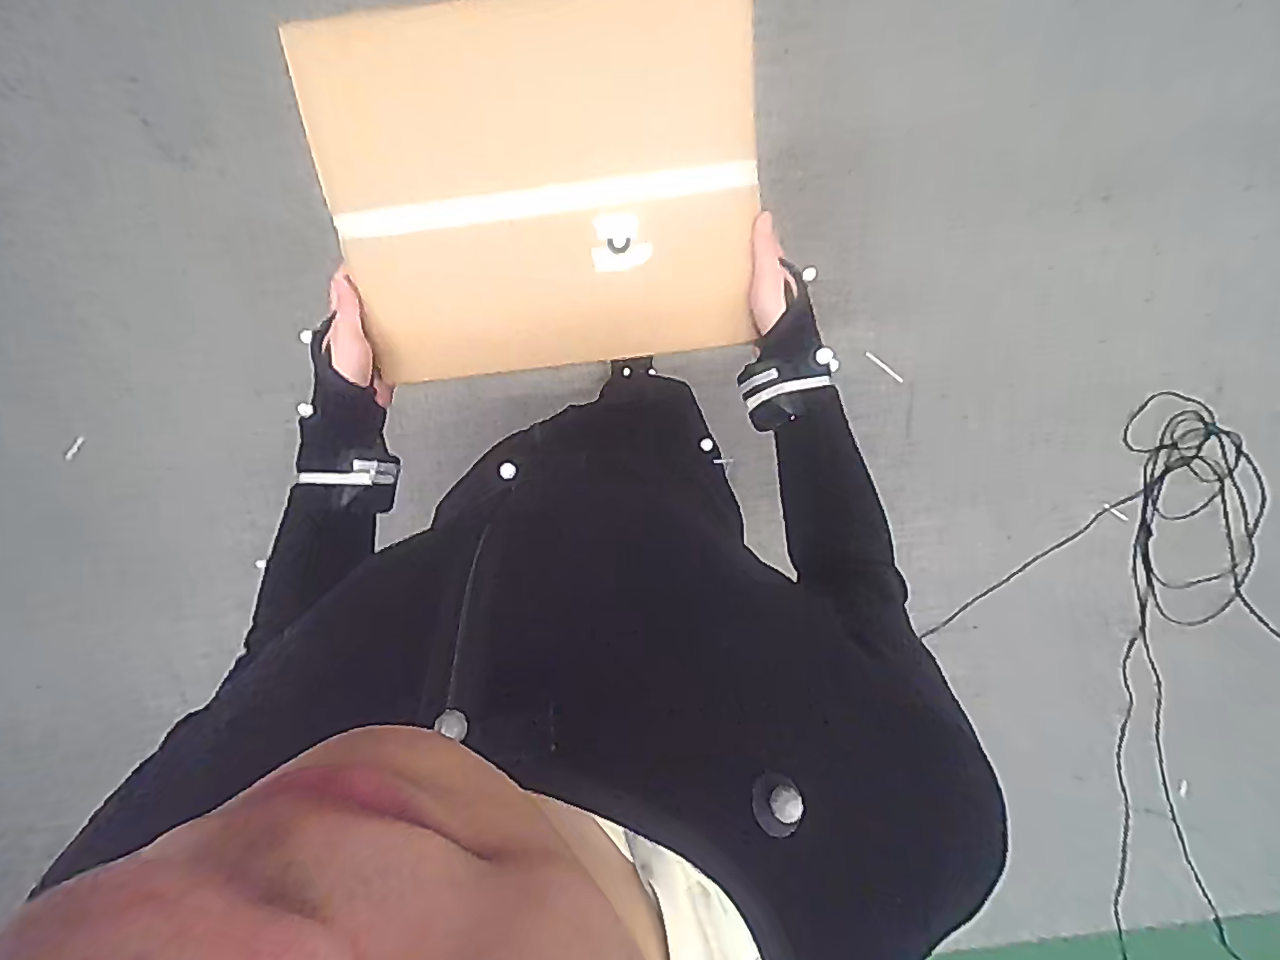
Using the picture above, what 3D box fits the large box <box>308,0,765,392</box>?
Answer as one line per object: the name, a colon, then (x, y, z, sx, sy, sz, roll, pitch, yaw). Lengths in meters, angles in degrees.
large box: (-0.088, -0.314, 0.667, 0.408, 0.320, 0.320, -7, 111, 1)
